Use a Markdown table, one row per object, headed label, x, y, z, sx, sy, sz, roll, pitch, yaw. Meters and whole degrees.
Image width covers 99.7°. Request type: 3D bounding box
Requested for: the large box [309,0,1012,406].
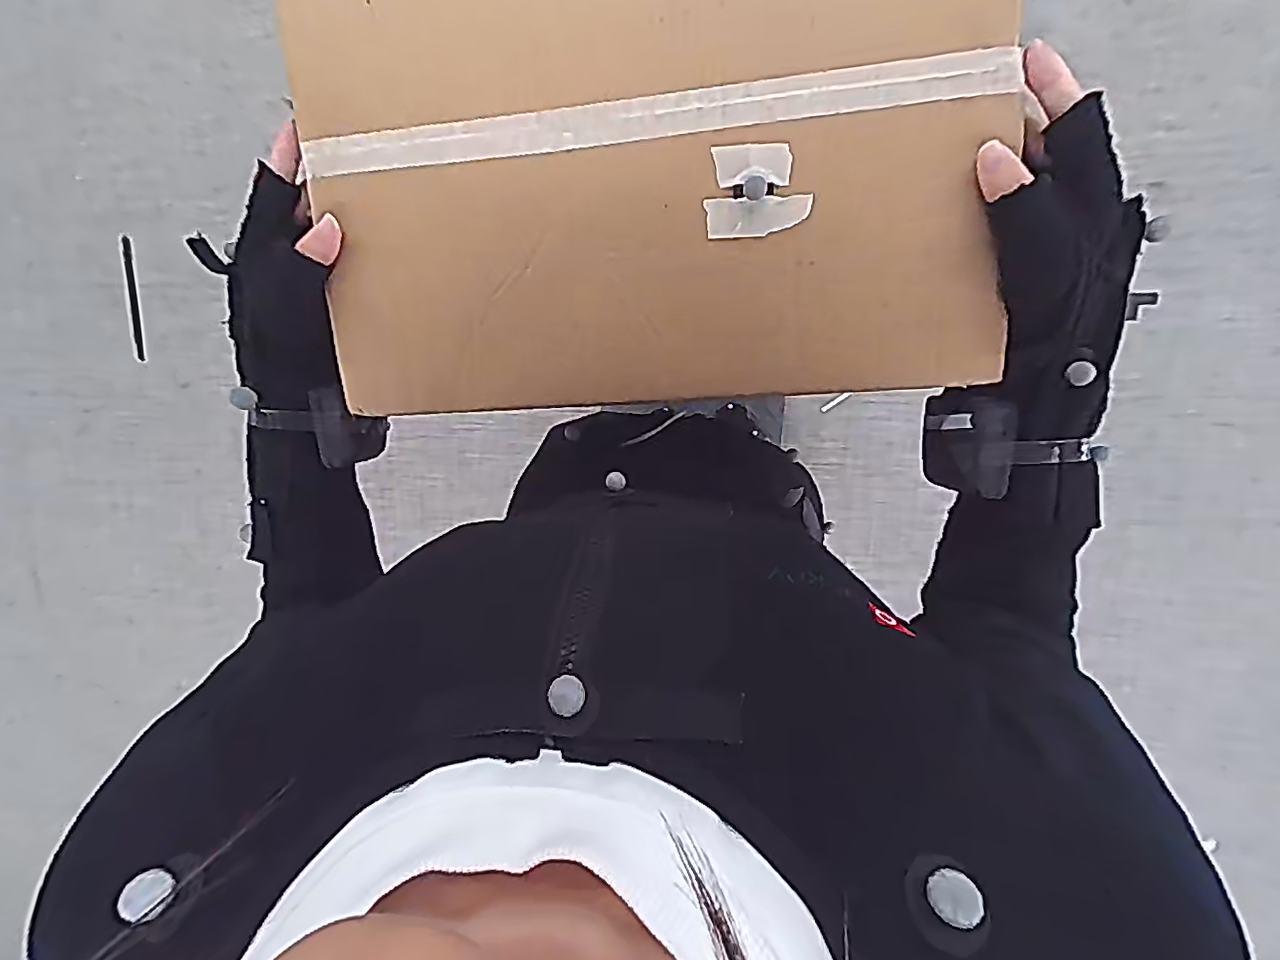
| label | x | y | z | sx | sy | sz | roll | pitch | yaw |
| --- | --- | --- | --- | --- | --- | --- | --- | --- | --- |
| large box | 0.017 | -0.240 | 0.463 | 0.408 | 0.320 | 0.320 | -2 | 102 | 7 |
